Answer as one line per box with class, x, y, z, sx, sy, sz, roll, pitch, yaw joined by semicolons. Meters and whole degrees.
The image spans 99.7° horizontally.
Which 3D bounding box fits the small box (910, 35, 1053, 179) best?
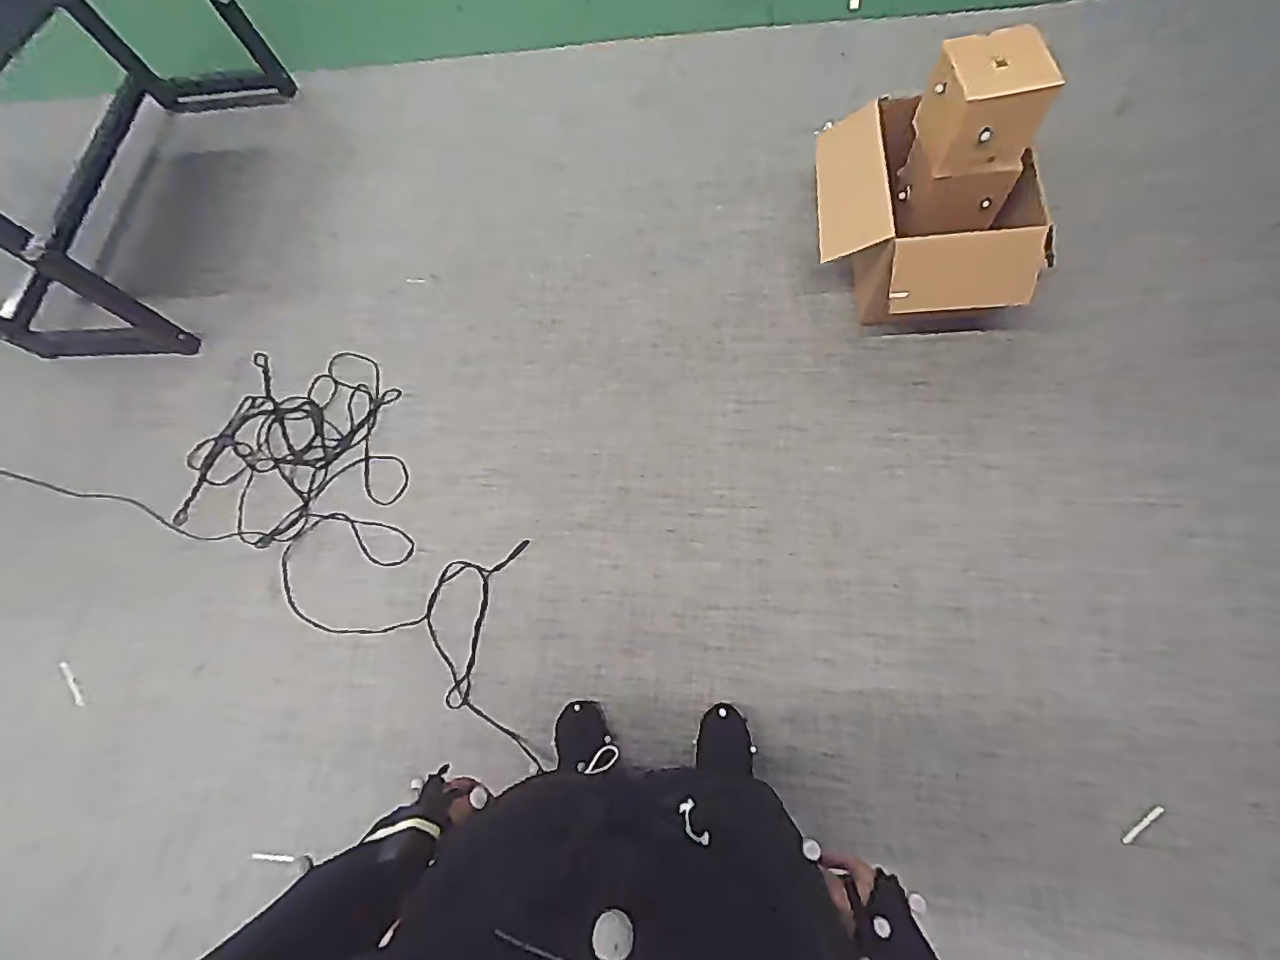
small box;0.668;-0.731;1.081;0.168;0.176;0.179;-7;68;5
